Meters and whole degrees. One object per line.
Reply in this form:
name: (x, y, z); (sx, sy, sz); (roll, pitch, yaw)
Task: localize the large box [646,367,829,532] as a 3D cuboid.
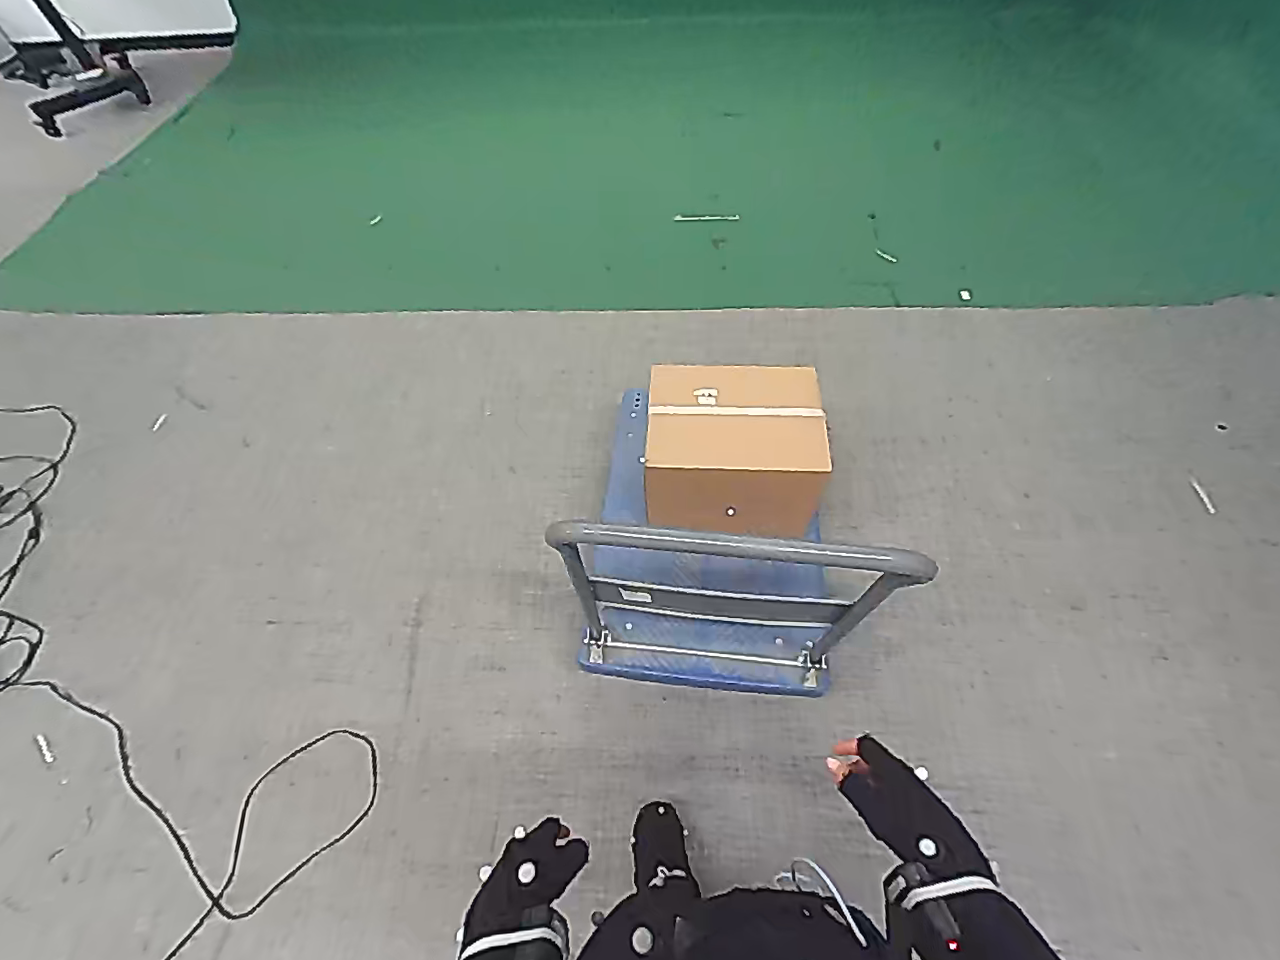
large box: (0.228, -0.070, 1.384); (0.408, 0.320, 0.320); (1, 56, 4)
